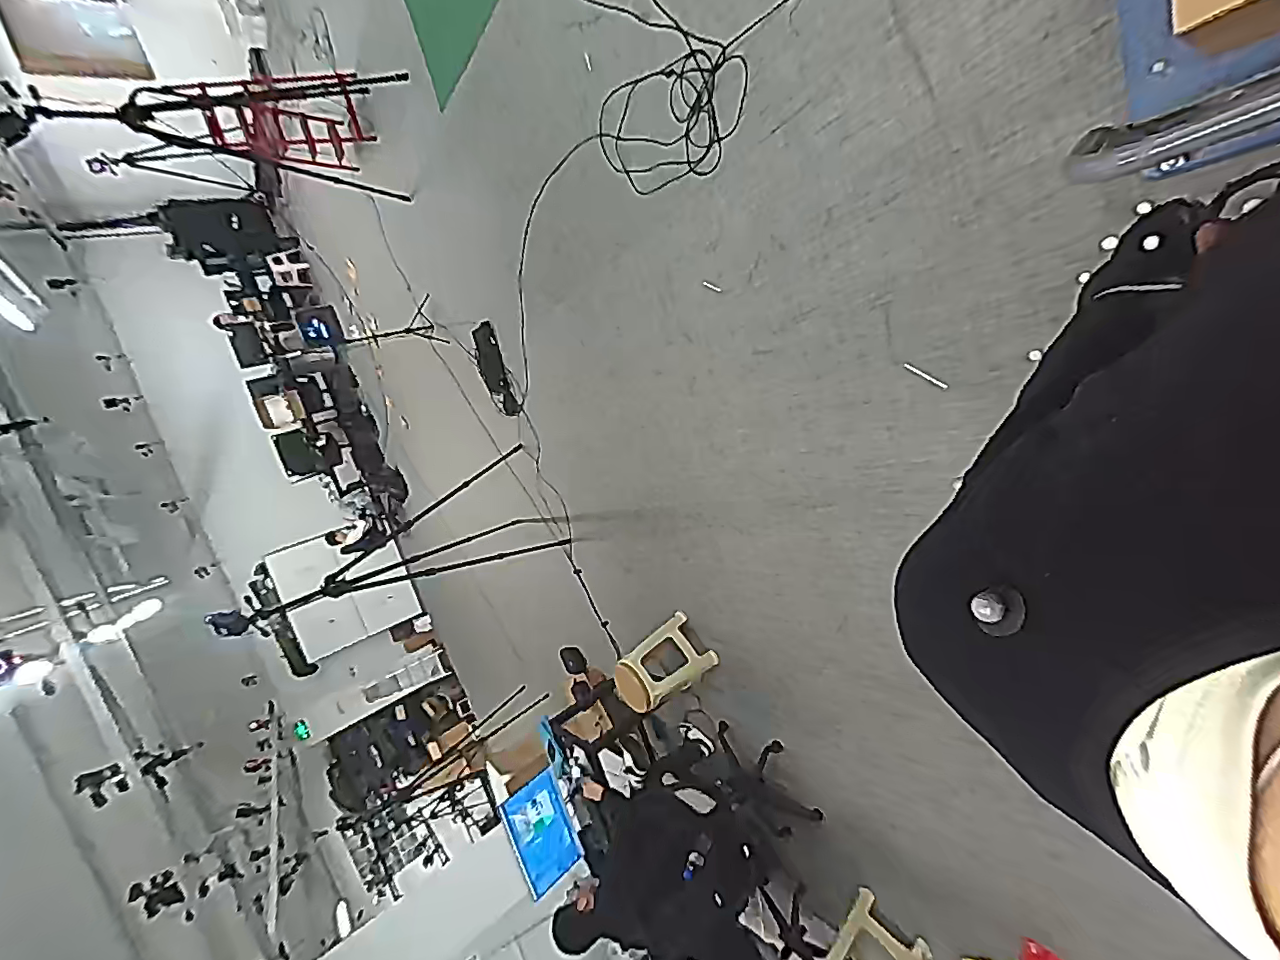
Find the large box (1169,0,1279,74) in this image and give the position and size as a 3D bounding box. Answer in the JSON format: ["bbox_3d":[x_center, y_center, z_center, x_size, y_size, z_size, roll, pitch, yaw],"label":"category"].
[{"bbox_3d":[0.892,-0.820,0.668,0.320,0.320,0.408,1,109,53],"label":"large box"}]
